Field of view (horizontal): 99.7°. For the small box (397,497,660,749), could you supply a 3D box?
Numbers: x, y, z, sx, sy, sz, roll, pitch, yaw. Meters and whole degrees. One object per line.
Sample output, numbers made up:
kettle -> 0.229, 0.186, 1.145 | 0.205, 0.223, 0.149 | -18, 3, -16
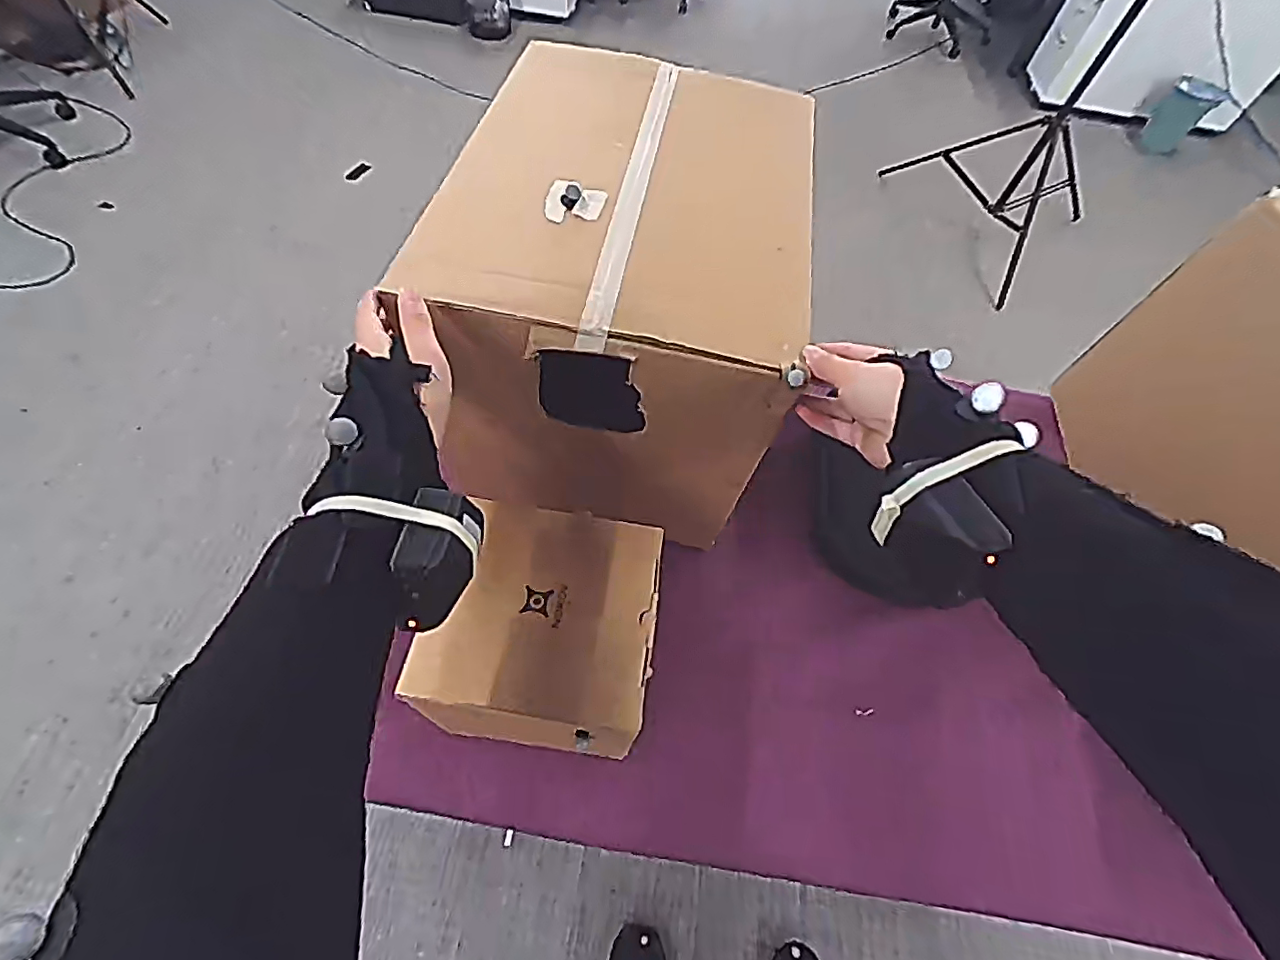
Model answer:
small box -> -0.085, 0.138, 0.492 | 0.179, 0.176, 0.168 | 9, 57, -1

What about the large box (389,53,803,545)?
large box -> -0.020, -0.188, 0.614 | 0.320, 0.320, 0.408 | 10, 61, 0
